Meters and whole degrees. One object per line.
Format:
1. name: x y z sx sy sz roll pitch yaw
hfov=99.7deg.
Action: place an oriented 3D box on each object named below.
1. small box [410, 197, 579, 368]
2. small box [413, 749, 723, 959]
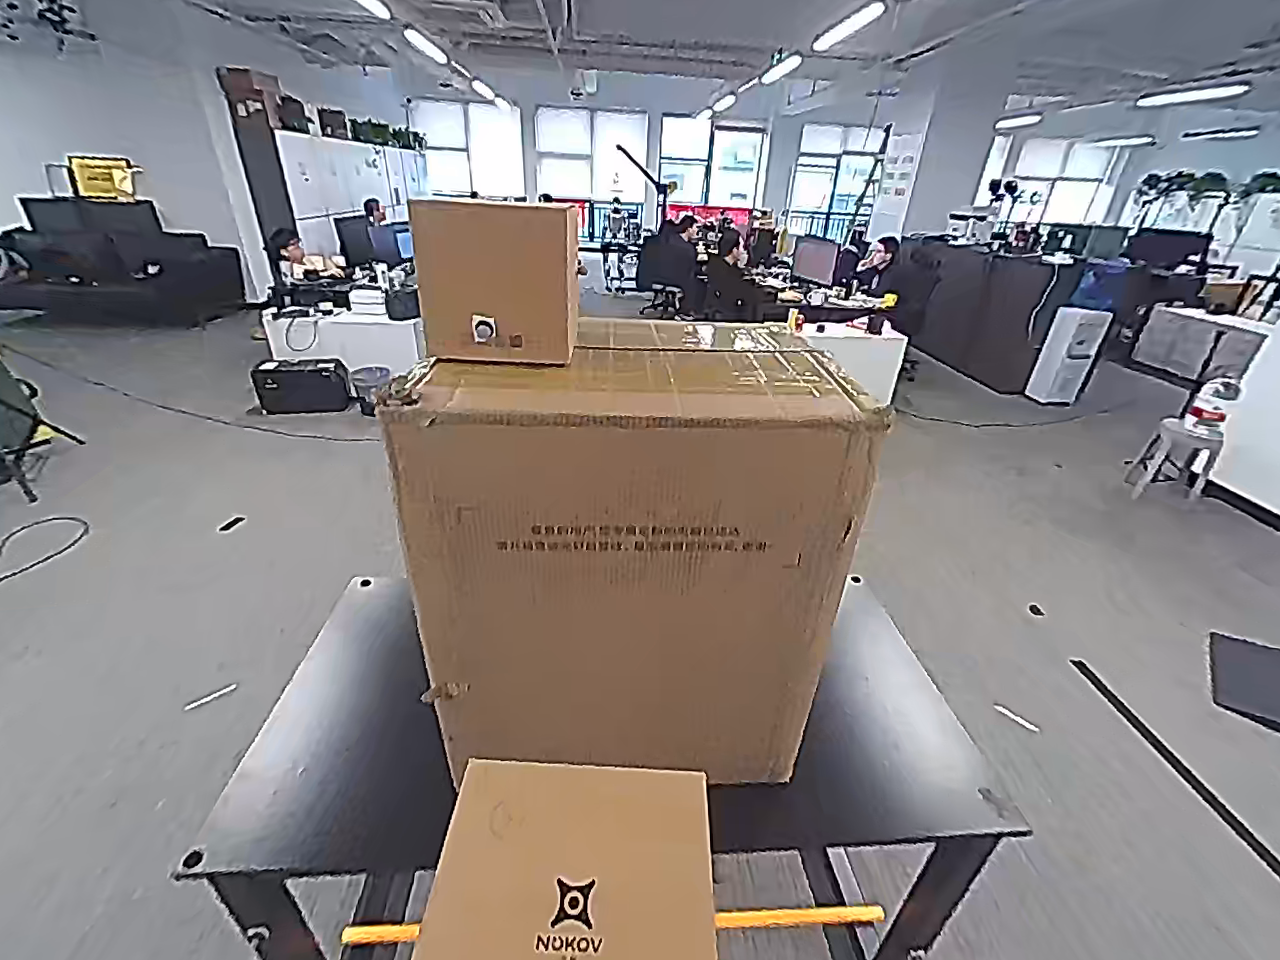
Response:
1. small box: -0.161 -0.245 0.659 0.168 0.176 0.179 0 28 -4
2. small box: -0.041 0.306 0.349 0.168 0.176 0.179 3 35 1
